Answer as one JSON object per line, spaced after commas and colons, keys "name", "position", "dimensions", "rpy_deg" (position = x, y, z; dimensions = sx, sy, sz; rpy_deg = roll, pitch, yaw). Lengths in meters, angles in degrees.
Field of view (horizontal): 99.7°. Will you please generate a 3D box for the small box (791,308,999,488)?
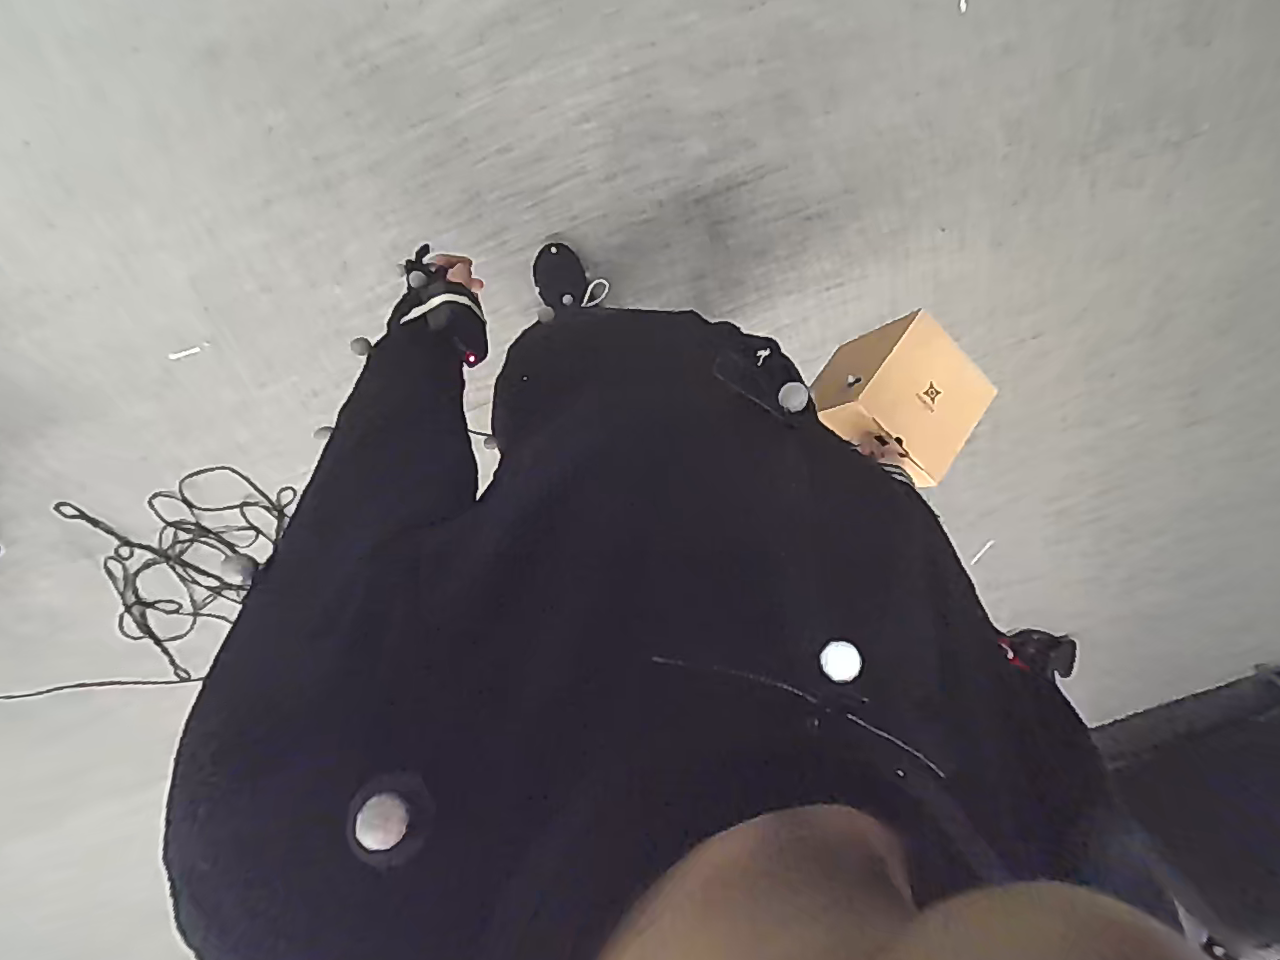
{"name": "small box", "position": [0.352, -0.105, 0.771], "dimensions": [0.168, 0.176, 0.179], "rpy_deg": [42, 77, -12]}
